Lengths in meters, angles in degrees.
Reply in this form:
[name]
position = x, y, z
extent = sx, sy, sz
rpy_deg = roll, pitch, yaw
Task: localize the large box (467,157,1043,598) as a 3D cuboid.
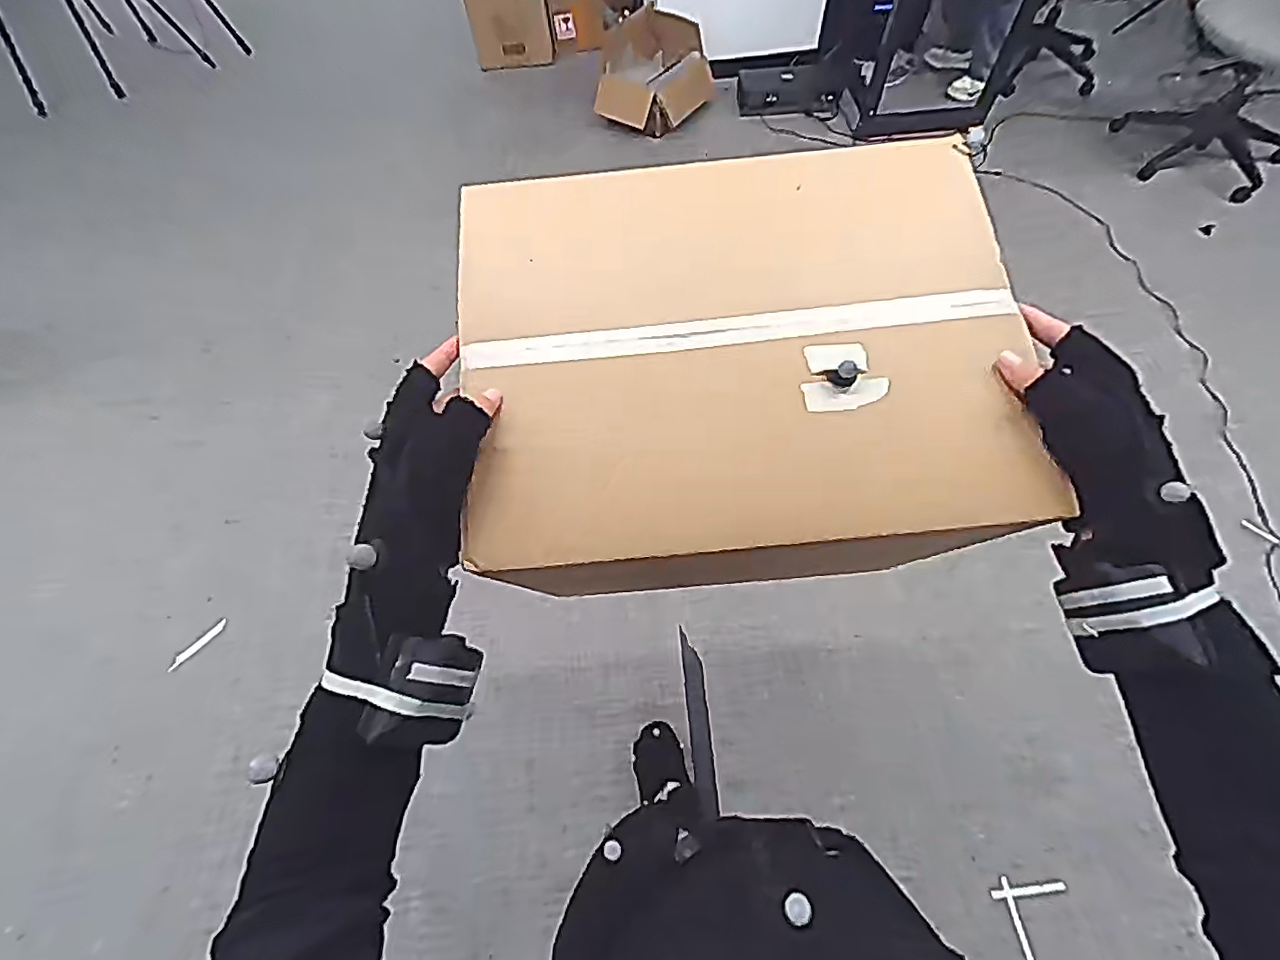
[large box]
position = 0.070, -0.064, 0.555
extent = 0.408, 0.320, 0.320
rpy_deg = -6, 75, 0
